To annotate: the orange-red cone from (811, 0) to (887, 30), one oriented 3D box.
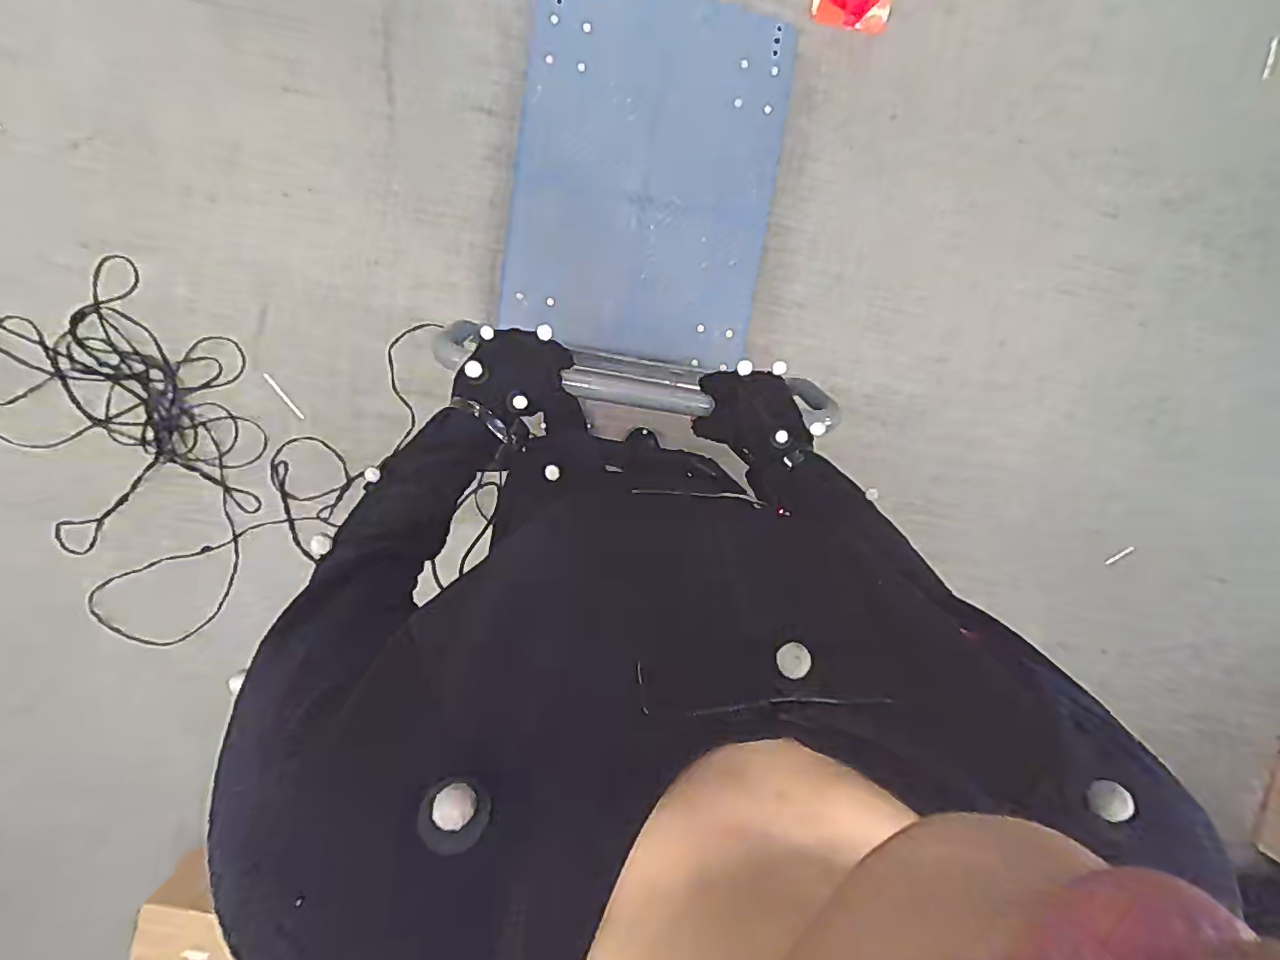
[{"bbox_3d":[0.549,-1.235,1.194,0.199,0.360,0.198,9,96,-4],"label":"orange-red cone"}]
